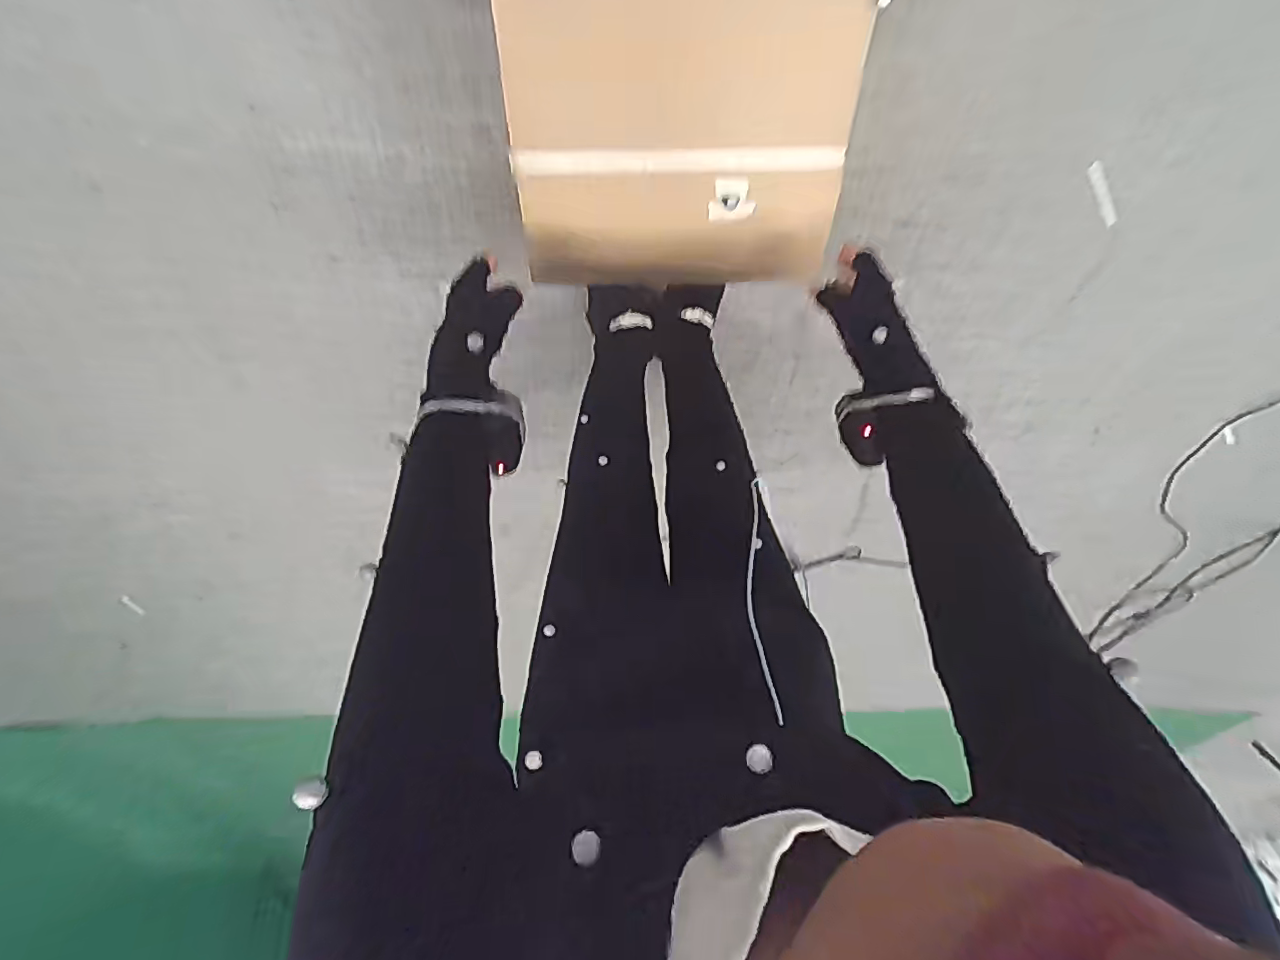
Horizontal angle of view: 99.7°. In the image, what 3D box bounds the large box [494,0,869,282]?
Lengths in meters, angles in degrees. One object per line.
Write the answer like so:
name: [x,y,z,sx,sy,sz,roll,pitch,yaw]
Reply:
large box: [0.043,-0.498,0.772,0.408,0.320,0.320,-1,132,-1]
